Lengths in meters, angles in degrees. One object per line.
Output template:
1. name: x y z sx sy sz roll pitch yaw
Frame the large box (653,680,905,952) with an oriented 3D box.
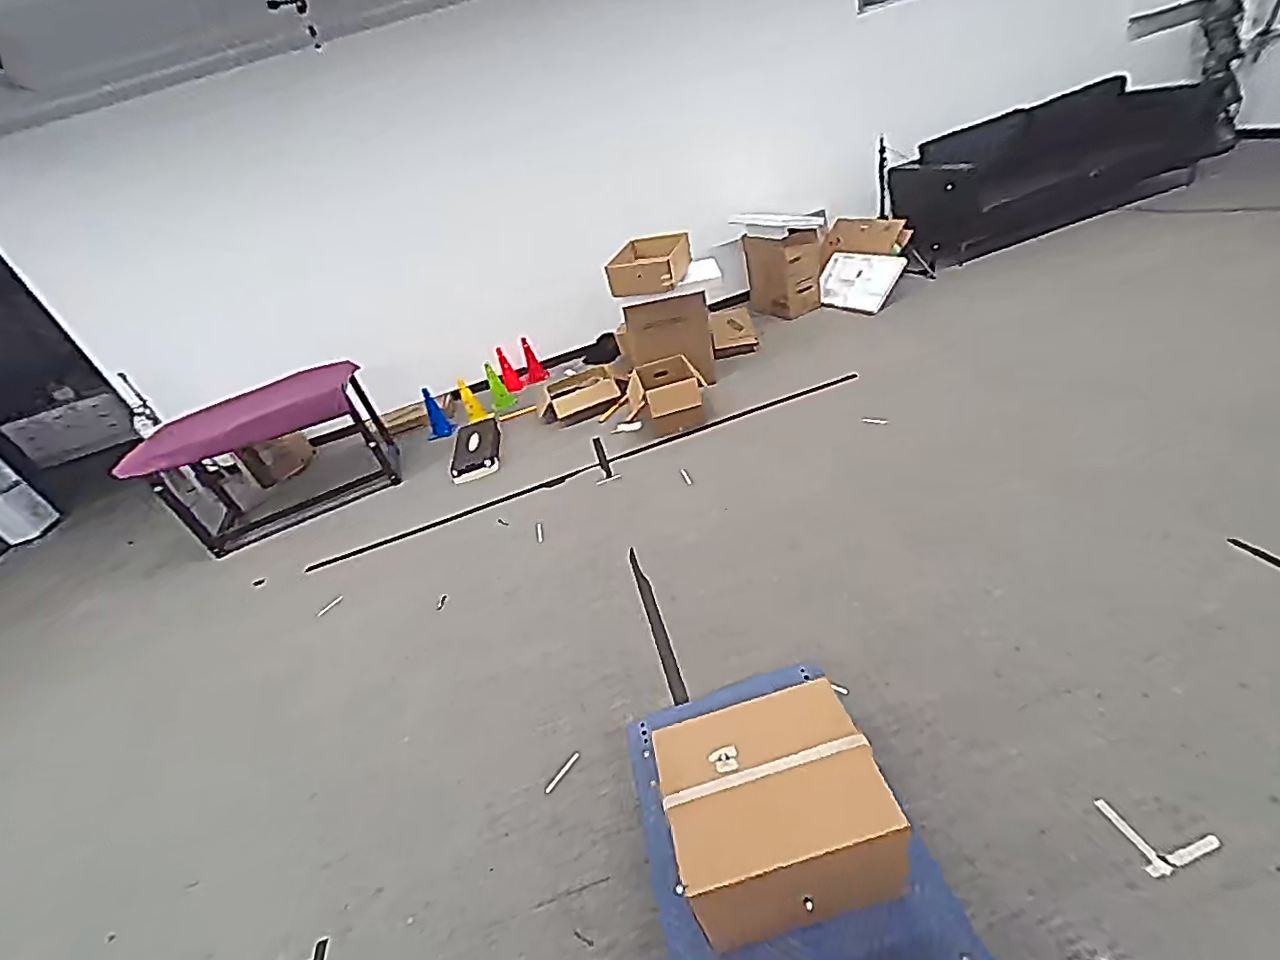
1. large box: 0.282 0.695 1.133 0.408 0.320 0.320 -19 31 0
